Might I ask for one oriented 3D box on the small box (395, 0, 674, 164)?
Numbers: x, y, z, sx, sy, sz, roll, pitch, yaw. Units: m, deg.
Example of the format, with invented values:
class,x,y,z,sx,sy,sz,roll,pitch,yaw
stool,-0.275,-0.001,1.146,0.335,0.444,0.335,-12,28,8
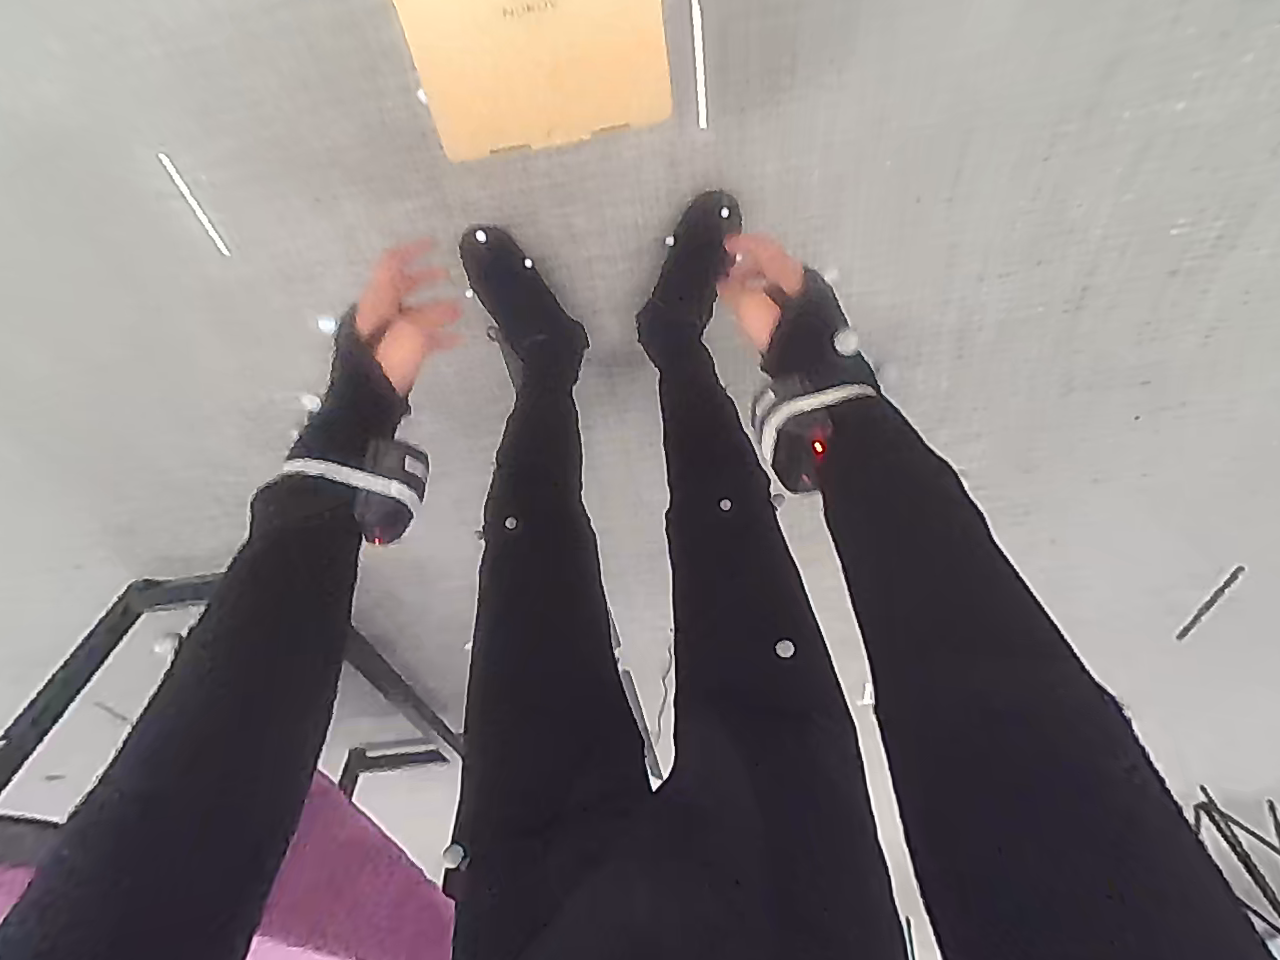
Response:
class,x,y,z,sx,sy,sz,roll,pitch,yaw
small box,-0.072,-0.354,0.387,0.168,0.176,0.179,-8,132,5
